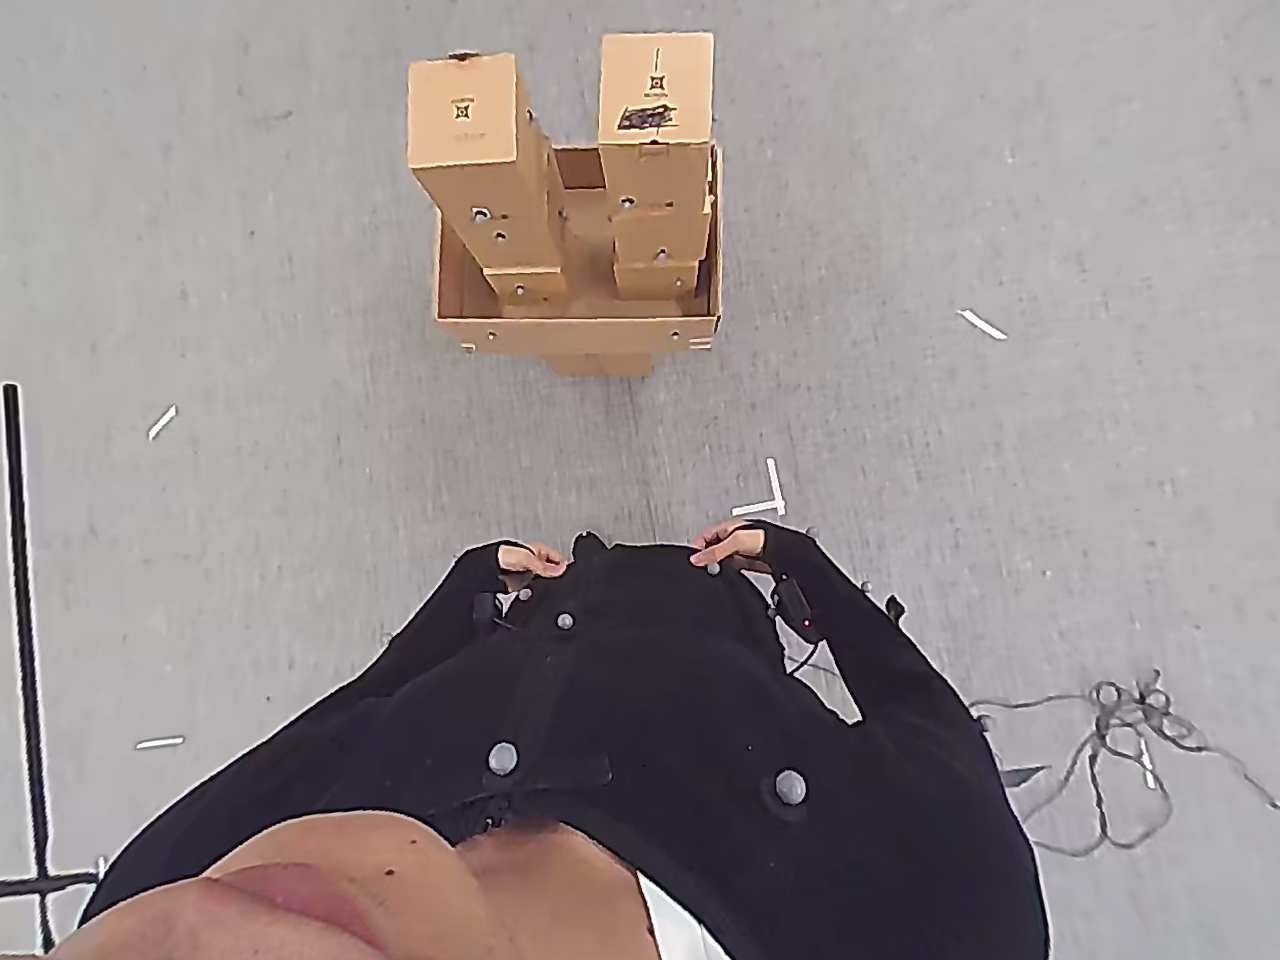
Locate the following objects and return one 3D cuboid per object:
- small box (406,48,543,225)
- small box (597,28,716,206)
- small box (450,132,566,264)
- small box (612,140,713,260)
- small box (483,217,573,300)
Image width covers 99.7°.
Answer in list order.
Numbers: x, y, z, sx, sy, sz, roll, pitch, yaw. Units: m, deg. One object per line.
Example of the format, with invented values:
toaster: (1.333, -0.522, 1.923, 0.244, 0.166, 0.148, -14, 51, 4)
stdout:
small box: (-0.257, -0.542, 0.872, 0.168, 0.176, 0.179, -2, 85, 3)
small box: (0.029, -0.559, 0.854, 0.168, 0.176, 0.179, 2, 85, 3)
small box: (-0.244, -0.531, 1.036, 0.179, 0.176, 0.168, 0, 86, 2)
small box: (0.039, -0.532, 1.018, 0.179, 0.176, 0.168, -2, 85, 2)
small box: (-0.241, -0.510, 1.199, 0.168, 0.176, 0.179, -1, 85, 2)
